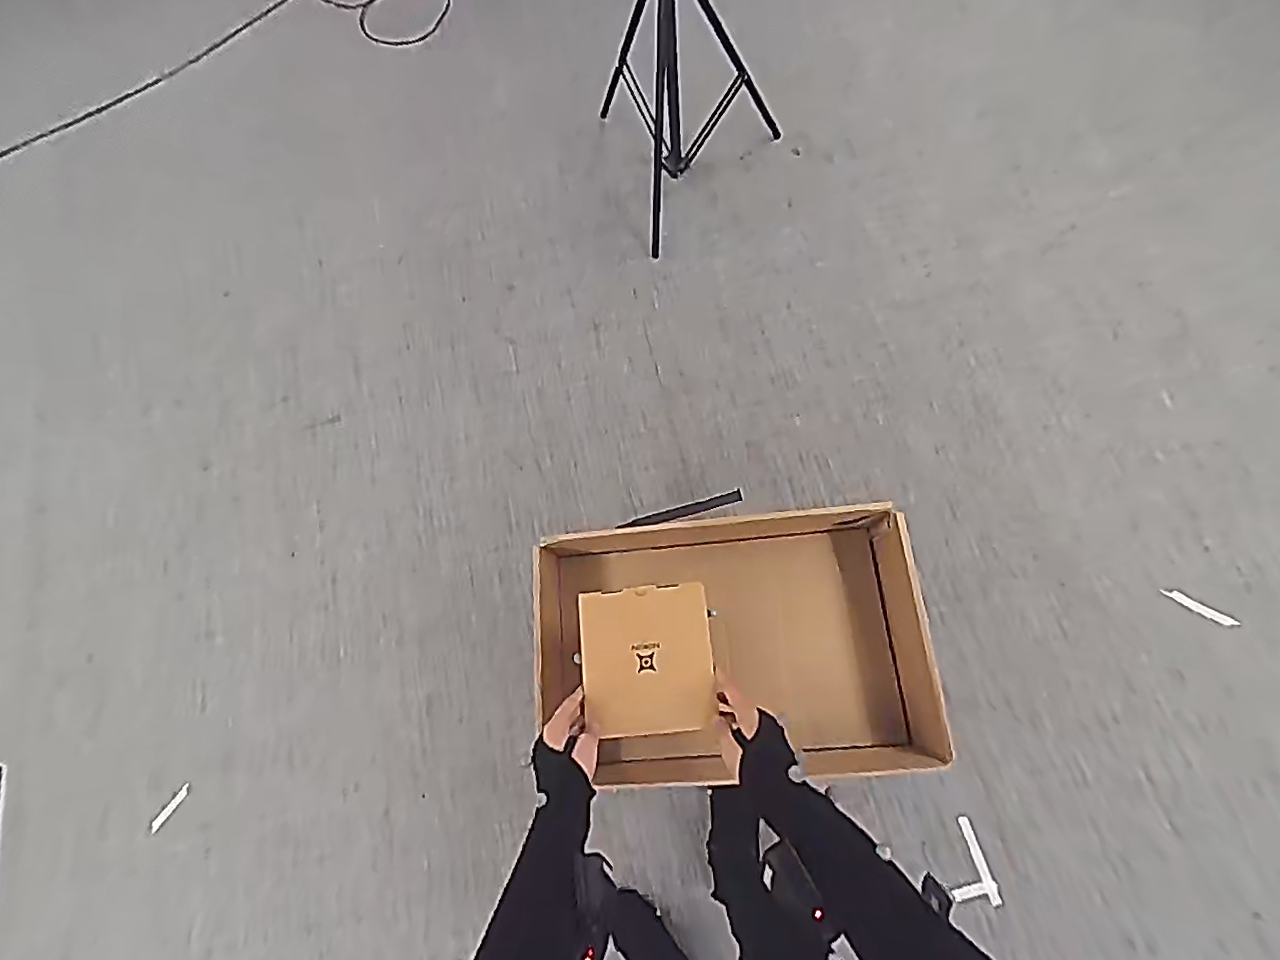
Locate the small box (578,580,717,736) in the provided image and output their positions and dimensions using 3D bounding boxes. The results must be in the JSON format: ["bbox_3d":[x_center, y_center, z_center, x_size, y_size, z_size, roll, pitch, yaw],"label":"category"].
[{"bbox_3d":[0.016,0.242,0.749,0.168,0.176,0.179,-7,72,5],"label":"small box"}]
